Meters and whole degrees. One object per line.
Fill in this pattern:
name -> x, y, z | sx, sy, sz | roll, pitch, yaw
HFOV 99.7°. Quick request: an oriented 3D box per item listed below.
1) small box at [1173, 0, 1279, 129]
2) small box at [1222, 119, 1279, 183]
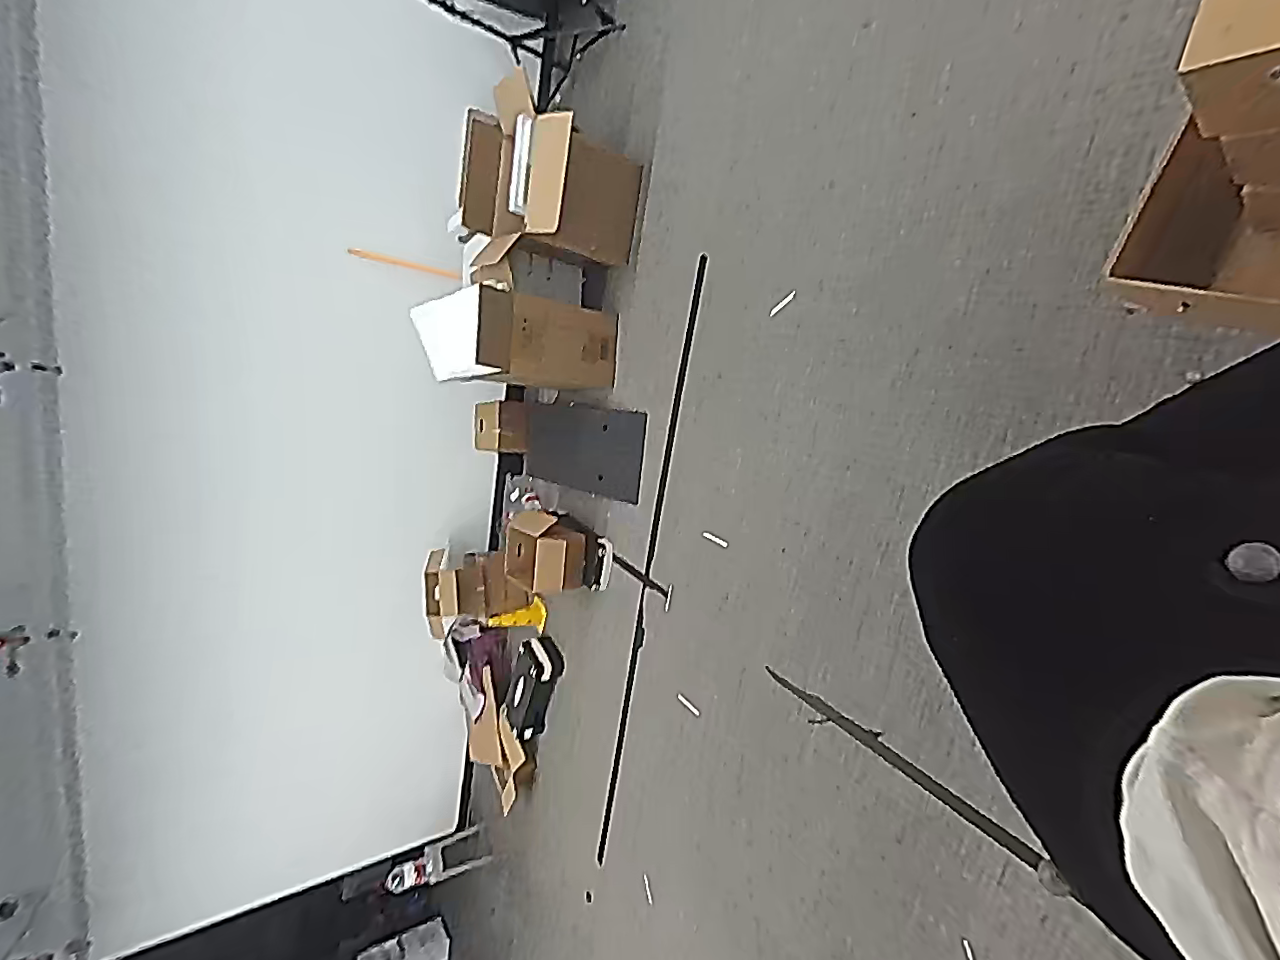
small box -> 0.690, -0.480, 0.534 | 0.179, 0.176, 0.168 | 26, 110, 51
small box -> 0.827, -0.474, 0.623 | 0.168, 0.176, 0.179 | 26, 109, 51
